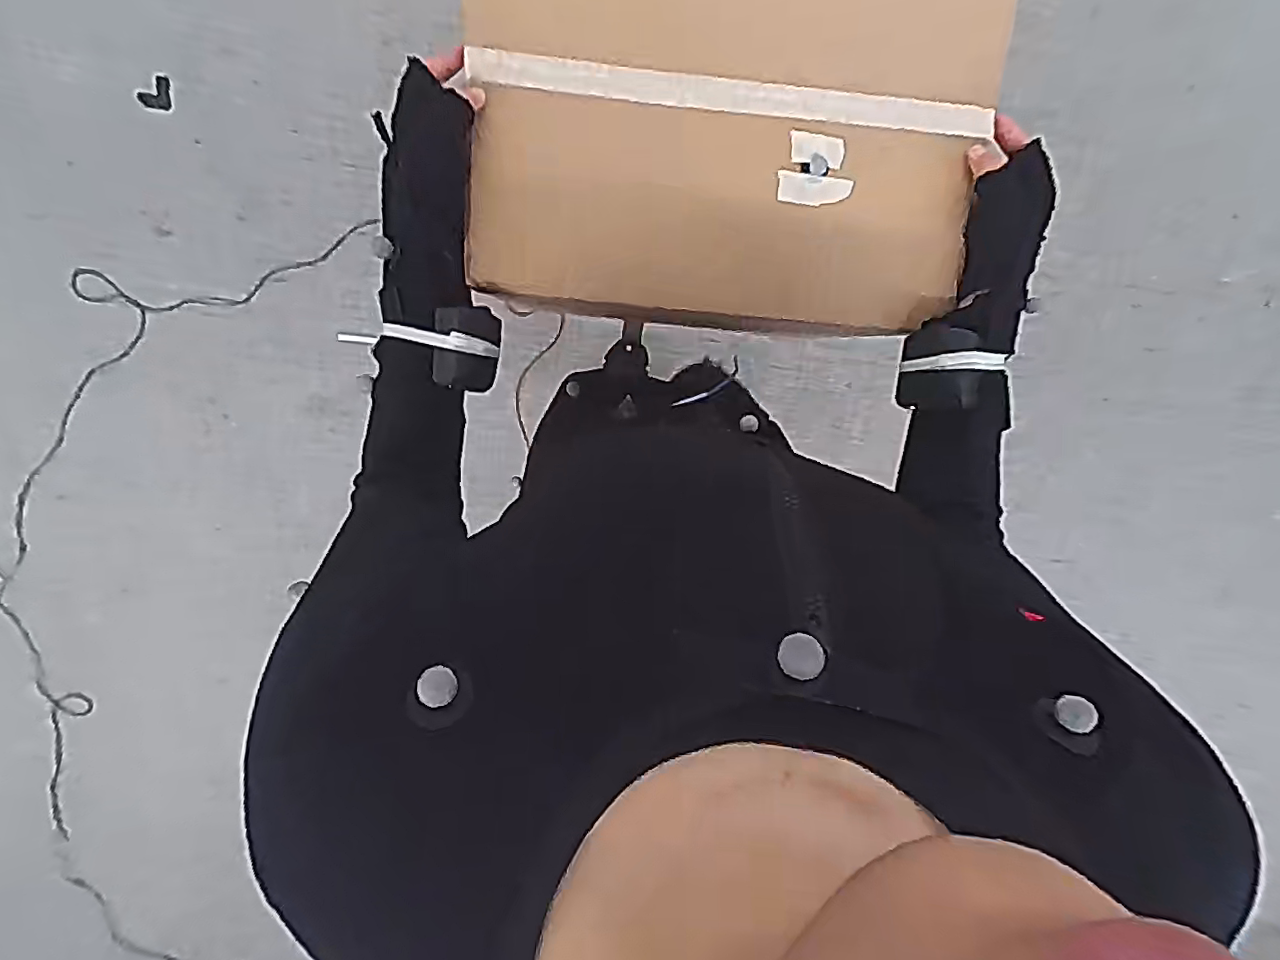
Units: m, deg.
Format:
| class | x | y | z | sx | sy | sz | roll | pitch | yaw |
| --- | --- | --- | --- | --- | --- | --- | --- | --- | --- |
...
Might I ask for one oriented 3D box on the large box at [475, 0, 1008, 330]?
| class | x | y | z | sx | sy | sz | roll | pitch | yaw |
| --- | --- | --- | --- | --- | --- | --- | --- | --- | --- |
| large box | 0.064 | -0.333 | 0.561 | 0.408 | 0.320 | 0.320 | 5 | 106 | -5 |
